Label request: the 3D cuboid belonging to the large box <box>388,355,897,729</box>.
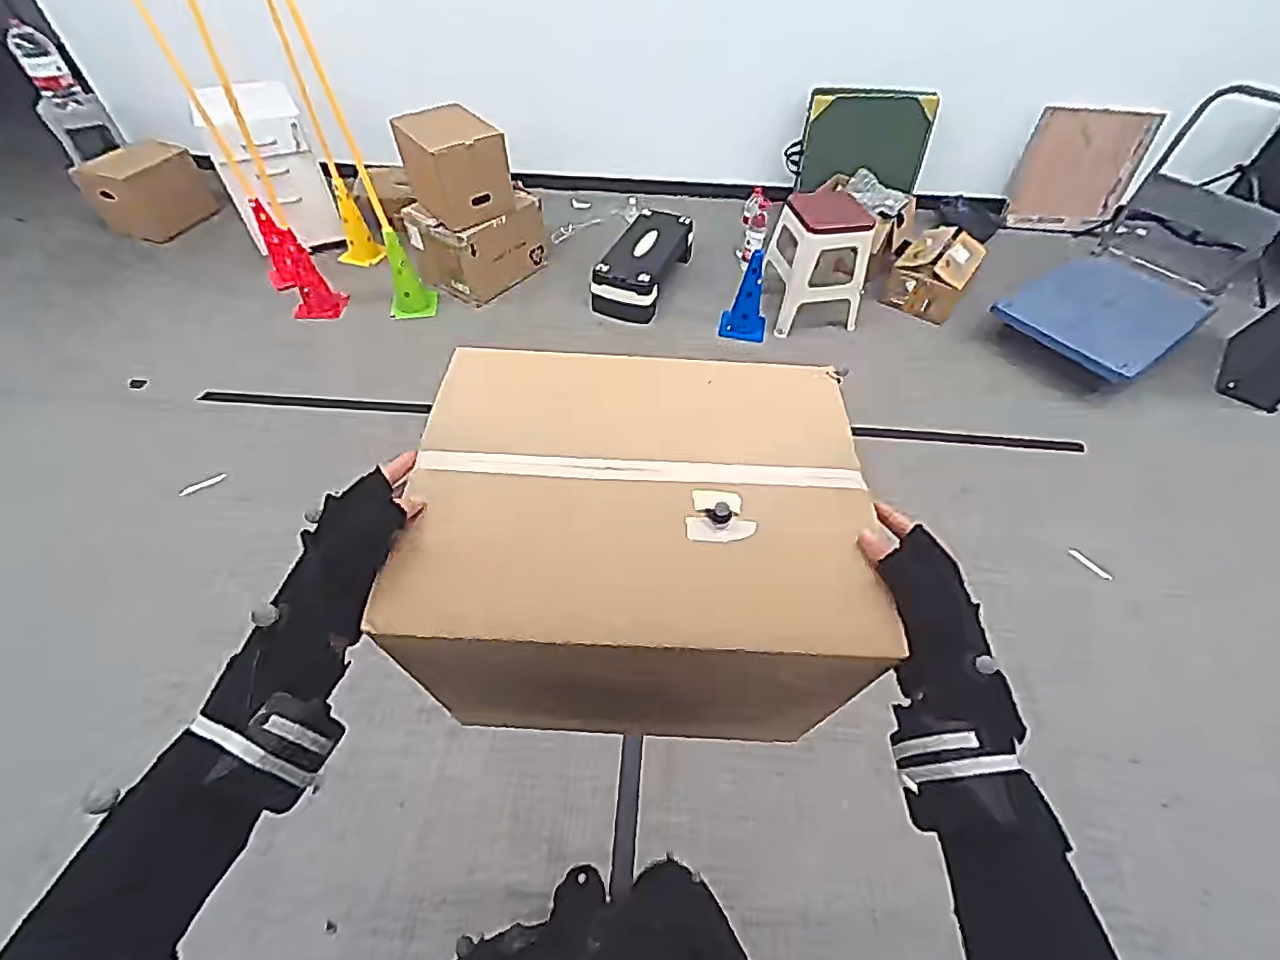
[{"bbox_3d":[-0.002,0.084,0.621,0.408,0.320,0.320,4,54,-1],"label":"large box"}]
